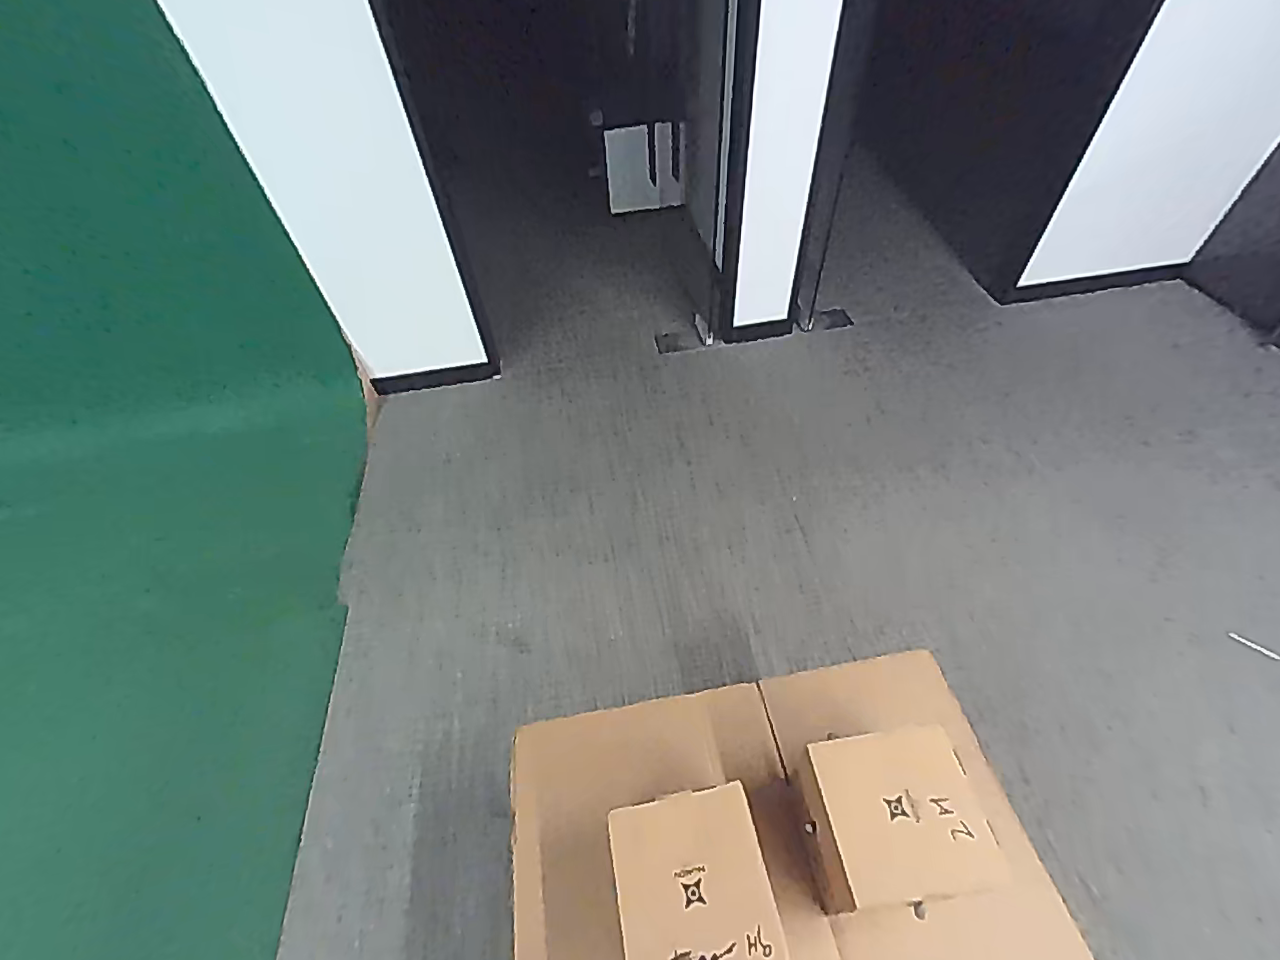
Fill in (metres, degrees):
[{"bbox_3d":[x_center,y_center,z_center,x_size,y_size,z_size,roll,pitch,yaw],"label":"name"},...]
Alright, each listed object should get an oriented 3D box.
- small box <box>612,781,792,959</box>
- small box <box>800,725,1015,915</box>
[{"bbox_3d":[0.065,0.490,0.643,0.168,0.176,0.179,-11,48,-3],"label":"small box"},{"bbox_3d":[0.309,0.428,0.677,0.179,0.176,0.168,-9,49,0],"label":"small box"}]
